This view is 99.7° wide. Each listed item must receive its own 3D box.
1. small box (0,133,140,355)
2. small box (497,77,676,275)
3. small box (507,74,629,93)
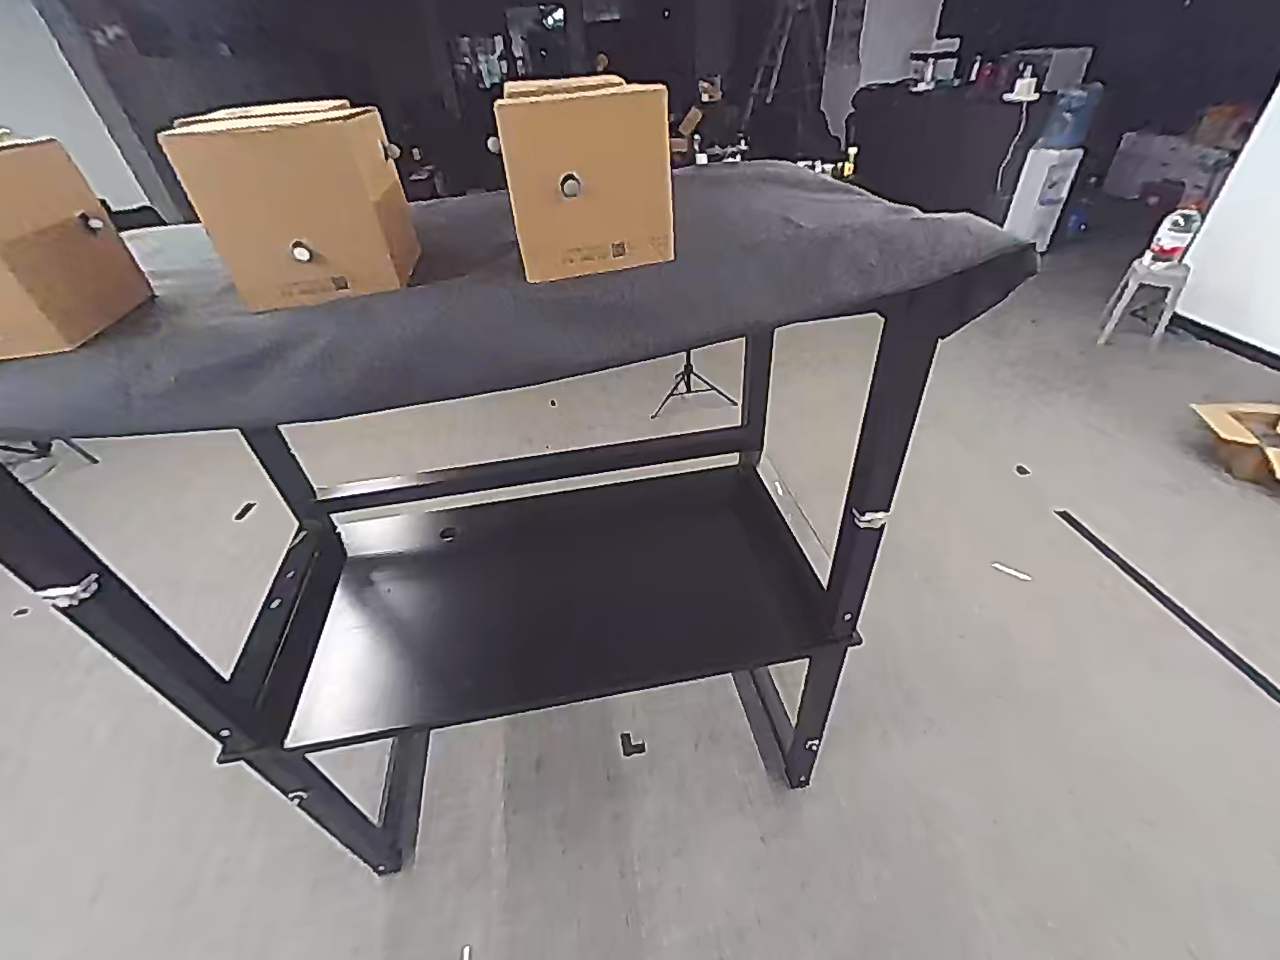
[{"bbox_3d":[-0.656,-0.228,0.529,0.168,0.176,0.179,-11,39,-7],"label":"small box"},{"bbox_3d":[-0.057,-0.338,0.608,0.168,0.176,0.179,-10,37,-6],"label":"small box"},{"bbox_3d":[-0.102,-0.507,0.823,0.168,0.176,0.179,-10,39,-6],"label":"small box"}]
